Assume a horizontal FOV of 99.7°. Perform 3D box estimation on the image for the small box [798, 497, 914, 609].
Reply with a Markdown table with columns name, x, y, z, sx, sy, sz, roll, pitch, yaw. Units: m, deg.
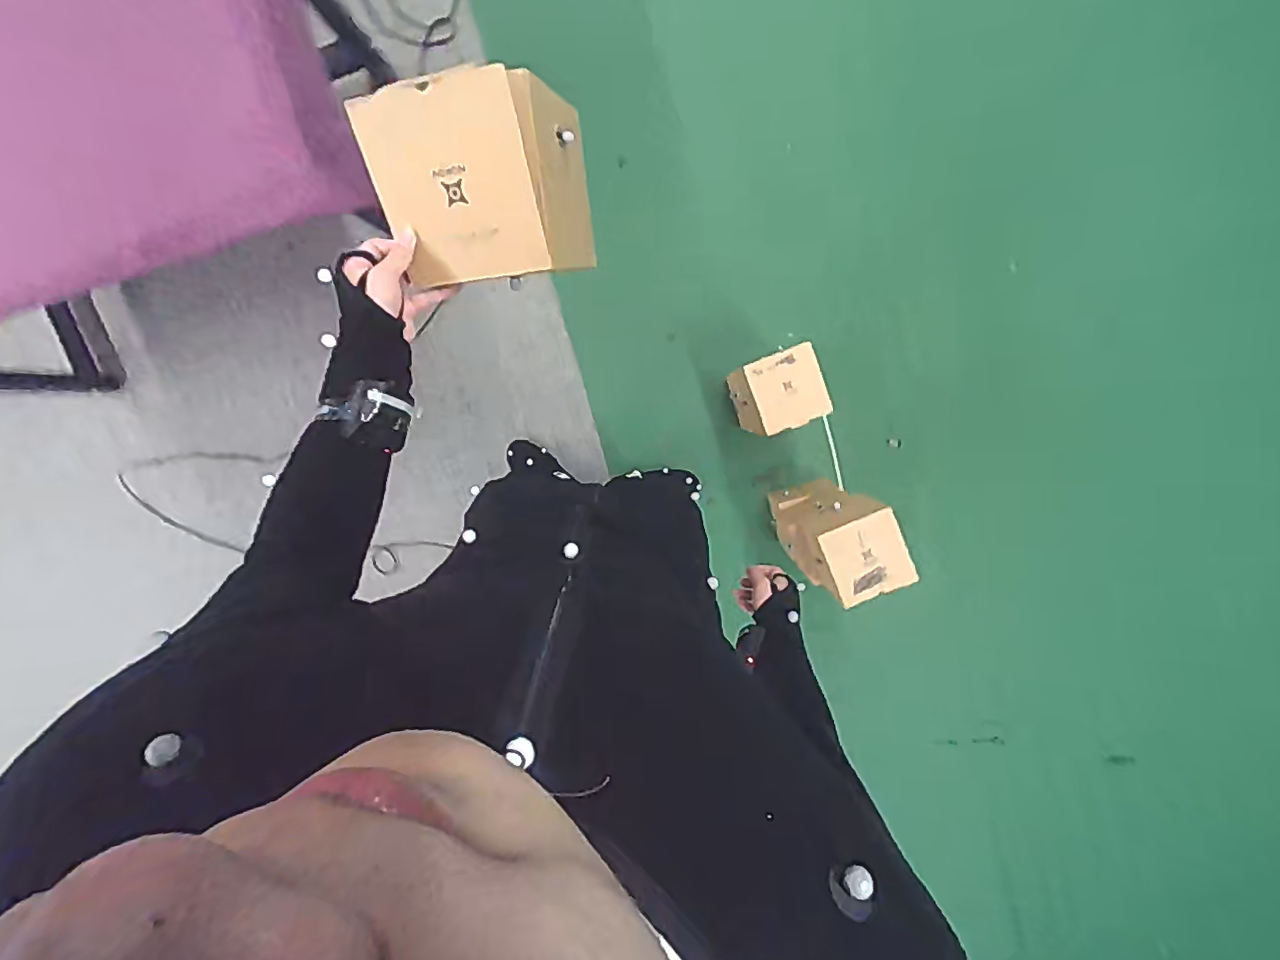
| name | x | y | z | sx | sy | sz | roll | pitch | yaw |
| --- | --- | --- | --- | --- | --- | --- | --- | --- | --- |
| small box | 0.474 | 0.156 | 1.210 | 0.168 | 0.176 | 0.179 | -22 | 96 | 5 |

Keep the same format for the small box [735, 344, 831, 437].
| name | x | y | z | sx | sy | sz | roll | pitch | yaw |
| --- | --- | --- | --- | --- | --- | --- | --- | --- | --- |
| small box | 0.345 | -0.219 | 1.329 | 0.168 | 0.176 | 0.179 | -20 | 97 | 4 |

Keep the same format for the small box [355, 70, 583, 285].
| name | x | y | z | sx | sy | sz | roll | pitch | yaw |
| --- | --- | --- | --- | --- | --- | --- | --- | --- | --- |
| small box | -0.174 | -0.323 | 0.611 | 0.168 | 0.176 | 0.179 | -1 | 113 | 13 |

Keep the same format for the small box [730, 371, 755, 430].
| name | x | y | z | sx | sy | sz | roll | pitch | yaw |
| --- | --- | --- | --- | --- | --- | --- | --- | --- | --- |
| small box | 0.352 | -0.239 | 1.492 | 0.179 | 0.176 | 0.168 | -16 | 97 | 5 |

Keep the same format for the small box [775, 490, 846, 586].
| name | x | y | z | sx | sy | sz | roll | pitch | yaw |
| --- | --- | --- | --- | --- | --- | --- | --- | --- | --- |
| small box | 0.465 | 0.139 | 1.375 | 0.179 | 0.176 | 0.168 | -24 | 96 | 7 |
